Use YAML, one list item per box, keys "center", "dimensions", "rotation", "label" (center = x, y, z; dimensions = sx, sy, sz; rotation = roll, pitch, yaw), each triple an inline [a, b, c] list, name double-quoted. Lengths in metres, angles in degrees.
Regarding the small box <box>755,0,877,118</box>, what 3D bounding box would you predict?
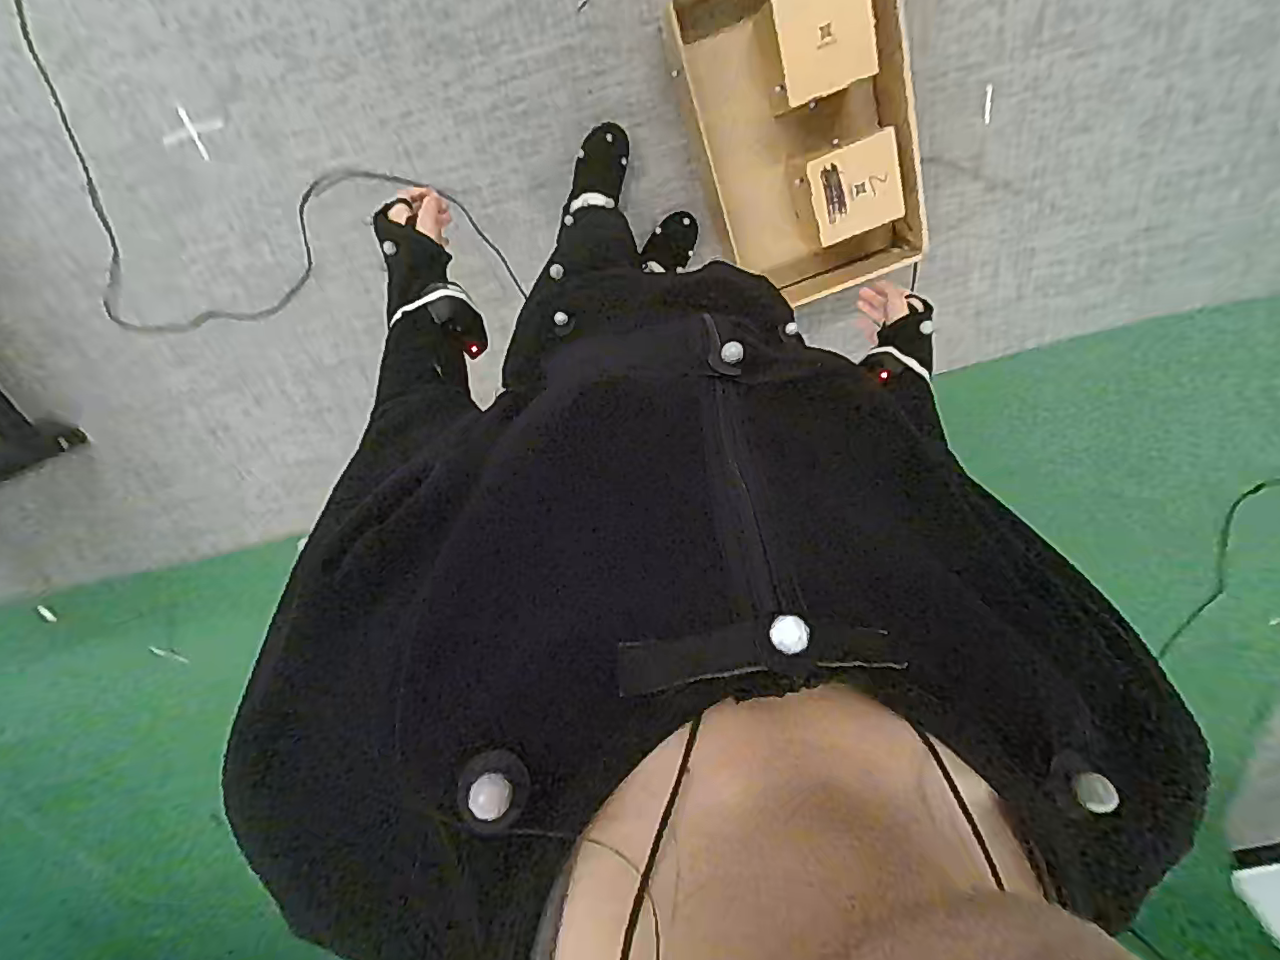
- center: [0.330, -0.823, 1.033]
  dimensions: [0.168, 0.176, 0.179]
  rotation: [-17, 119, 10]
  label: "small box"
